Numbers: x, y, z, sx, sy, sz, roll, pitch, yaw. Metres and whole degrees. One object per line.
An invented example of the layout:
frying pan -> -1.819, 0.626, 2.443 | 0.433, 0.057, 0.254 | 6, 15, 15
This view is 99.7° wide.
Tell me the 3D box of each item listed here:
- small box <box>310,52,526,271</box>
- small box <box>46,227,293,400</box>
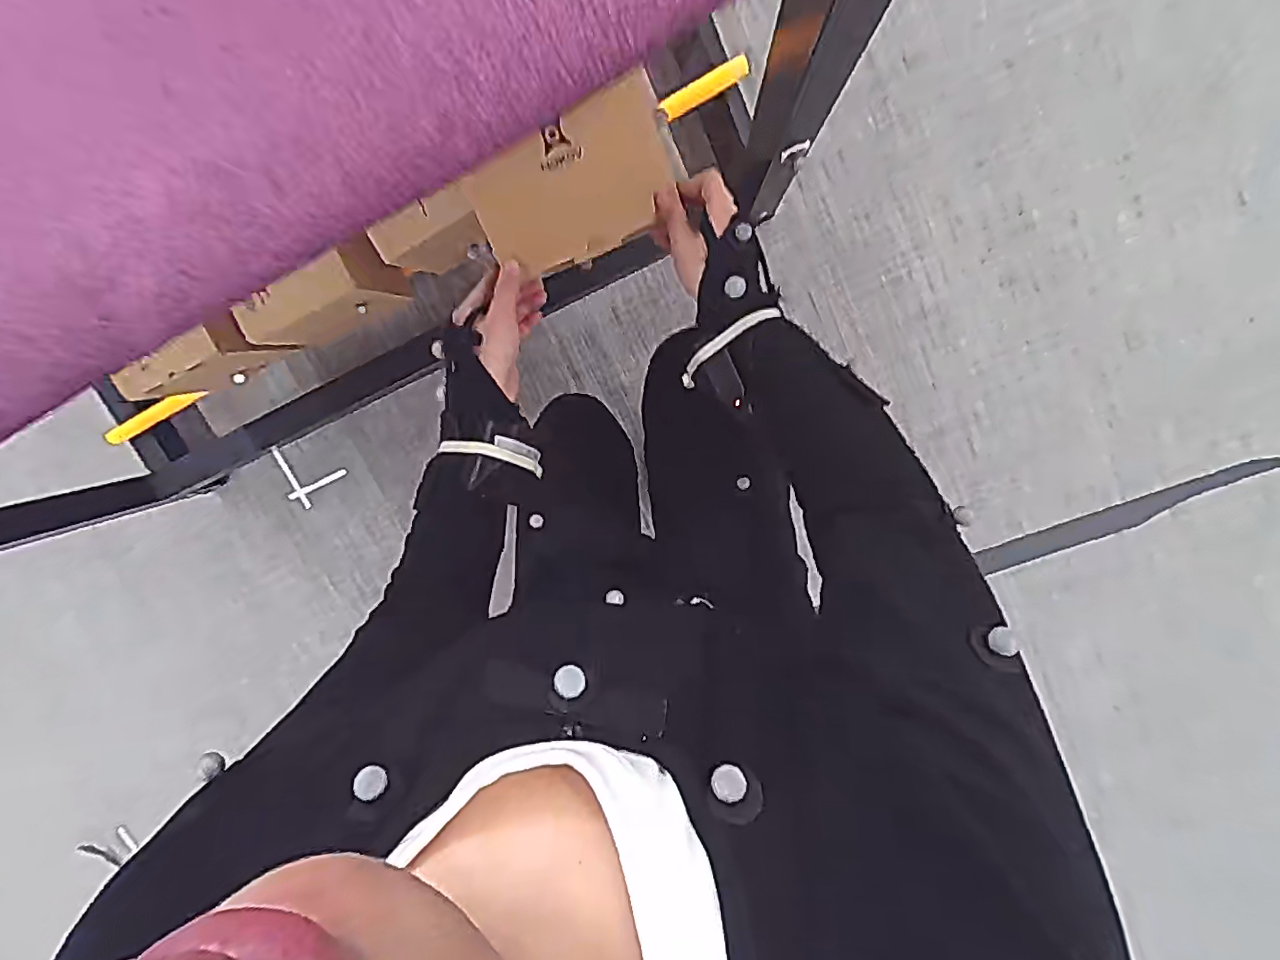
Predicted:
small box -> -0.278, -0.400, 0.719 | 0.168, 0.176, 0.179 | -25, 103, 11
small box -> -0.665, -0.234, 0.789 | 0.168, 0.176, 0.179 | -23, 103, 9
